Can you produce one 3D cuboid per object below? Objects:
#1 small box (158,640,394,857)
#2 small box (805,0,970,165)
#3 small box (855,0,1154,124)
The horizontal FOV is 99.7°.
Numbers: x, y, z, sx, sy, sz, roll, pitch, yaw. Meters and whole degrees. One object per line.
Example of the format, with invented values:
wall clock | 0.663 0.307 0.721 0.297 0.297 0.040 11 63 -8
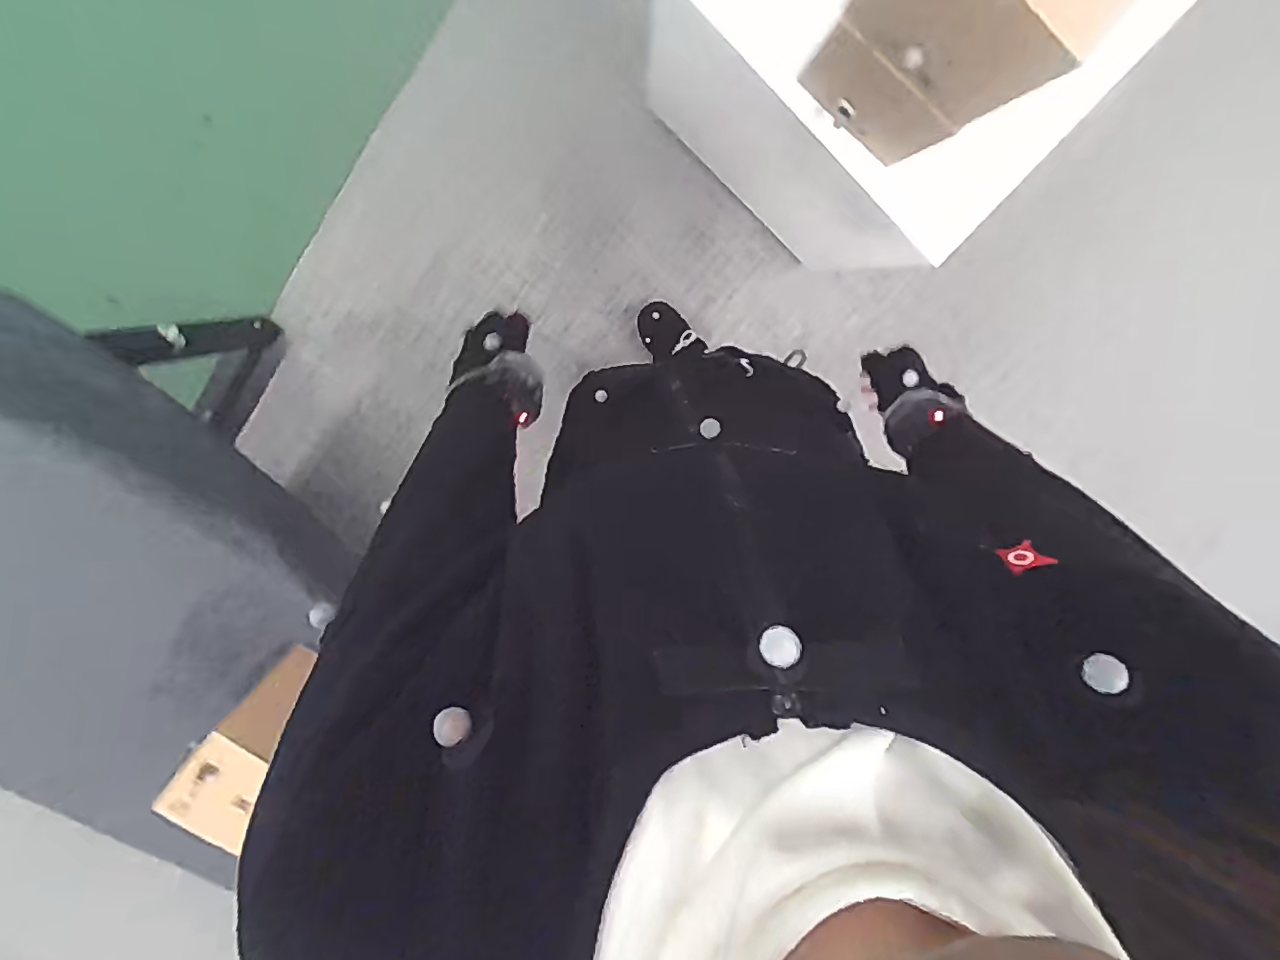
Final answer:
small box | -0.478 0.357 0.740 0.179 0.176 0.168 41 106 -13
small box | 0.304 -0.477 0.574 0.168 0.176 0.179 35 108 -10
small box | 0.303 -0.427 0.417 0.168 0.176 0.179 33 105 -11
